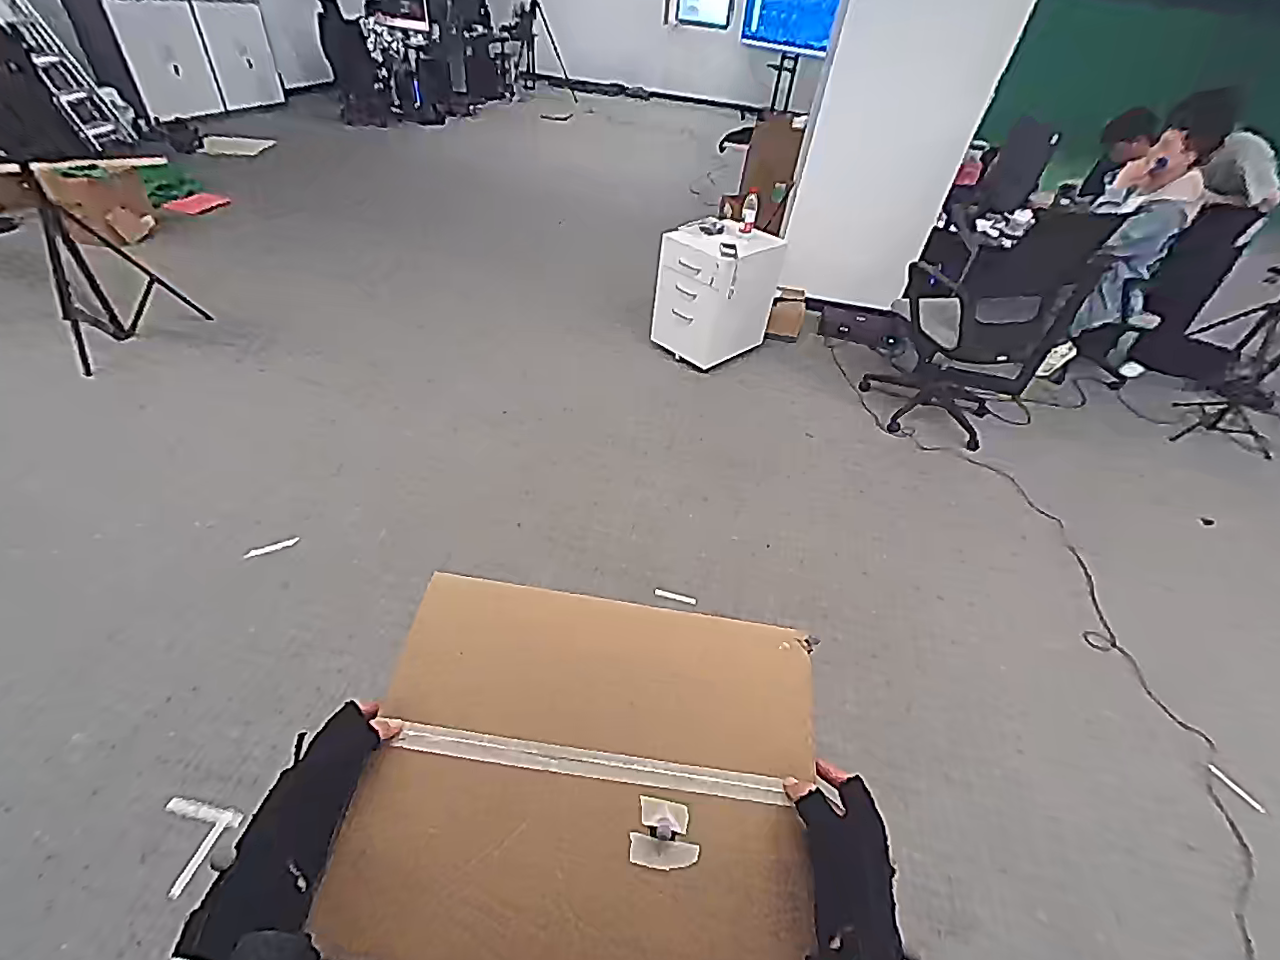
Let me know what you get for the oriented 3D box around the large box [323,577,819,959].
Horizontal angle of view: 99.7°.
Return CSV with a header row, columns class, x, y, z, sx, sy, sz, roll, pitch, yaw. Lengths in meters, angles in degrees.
class,x,y,z,sx,sy,sz,roll,pitch,yaw
large box,-0.053,0.342,0.629,0.408,0.320,0.320,9,55,-1
